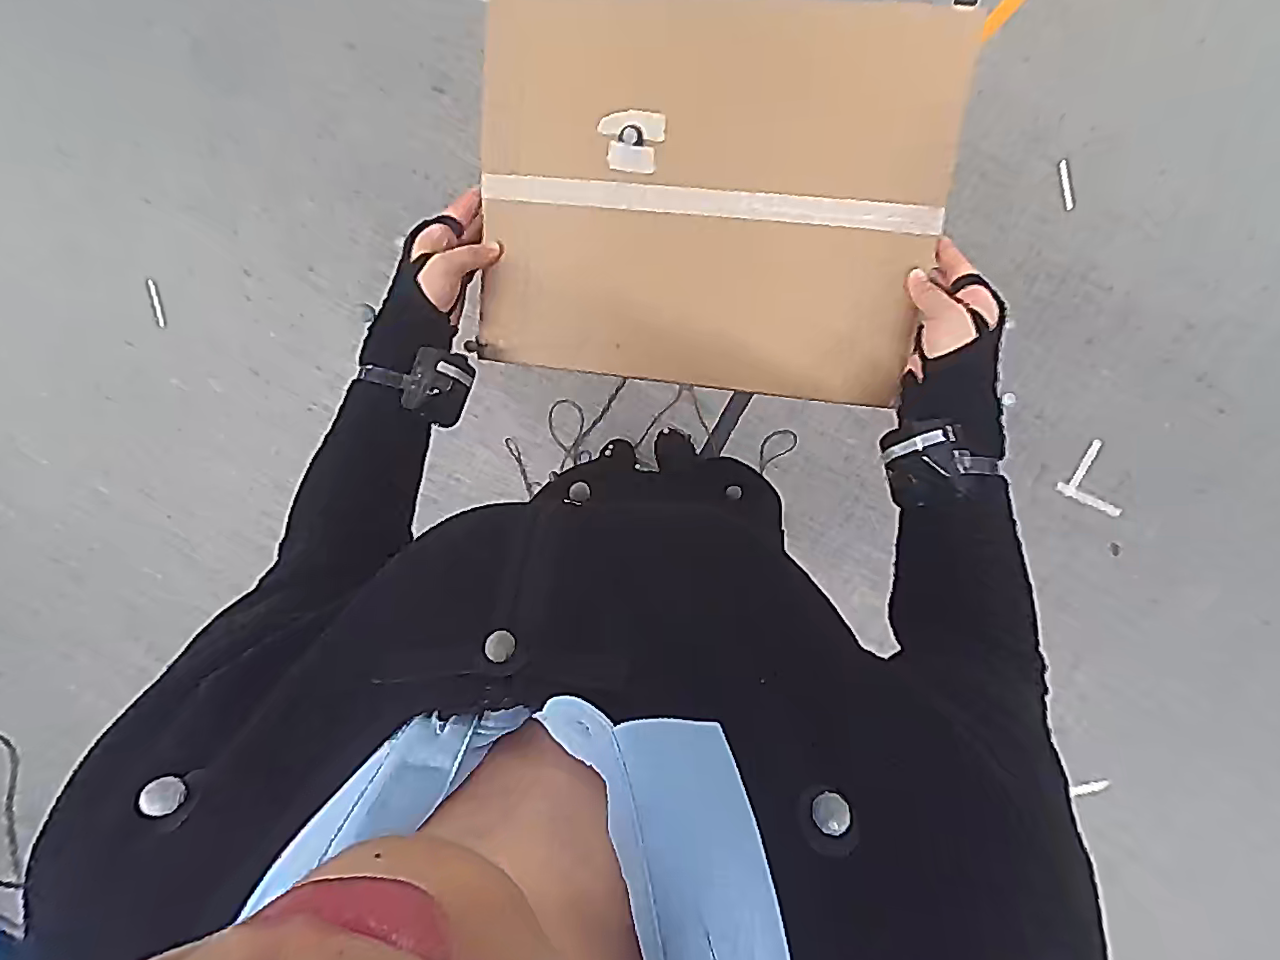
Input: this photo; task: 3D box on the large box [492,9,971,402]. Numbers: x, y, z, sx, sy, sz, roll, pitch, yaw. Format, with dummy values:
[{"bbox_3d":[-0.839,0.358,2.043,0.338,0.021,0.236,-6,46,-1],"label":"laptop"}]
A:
[{"bbox_3d":[0.081,-0.279,0.635,0.408,0.320,0.320,8,103,6],"label":"large box"}]
